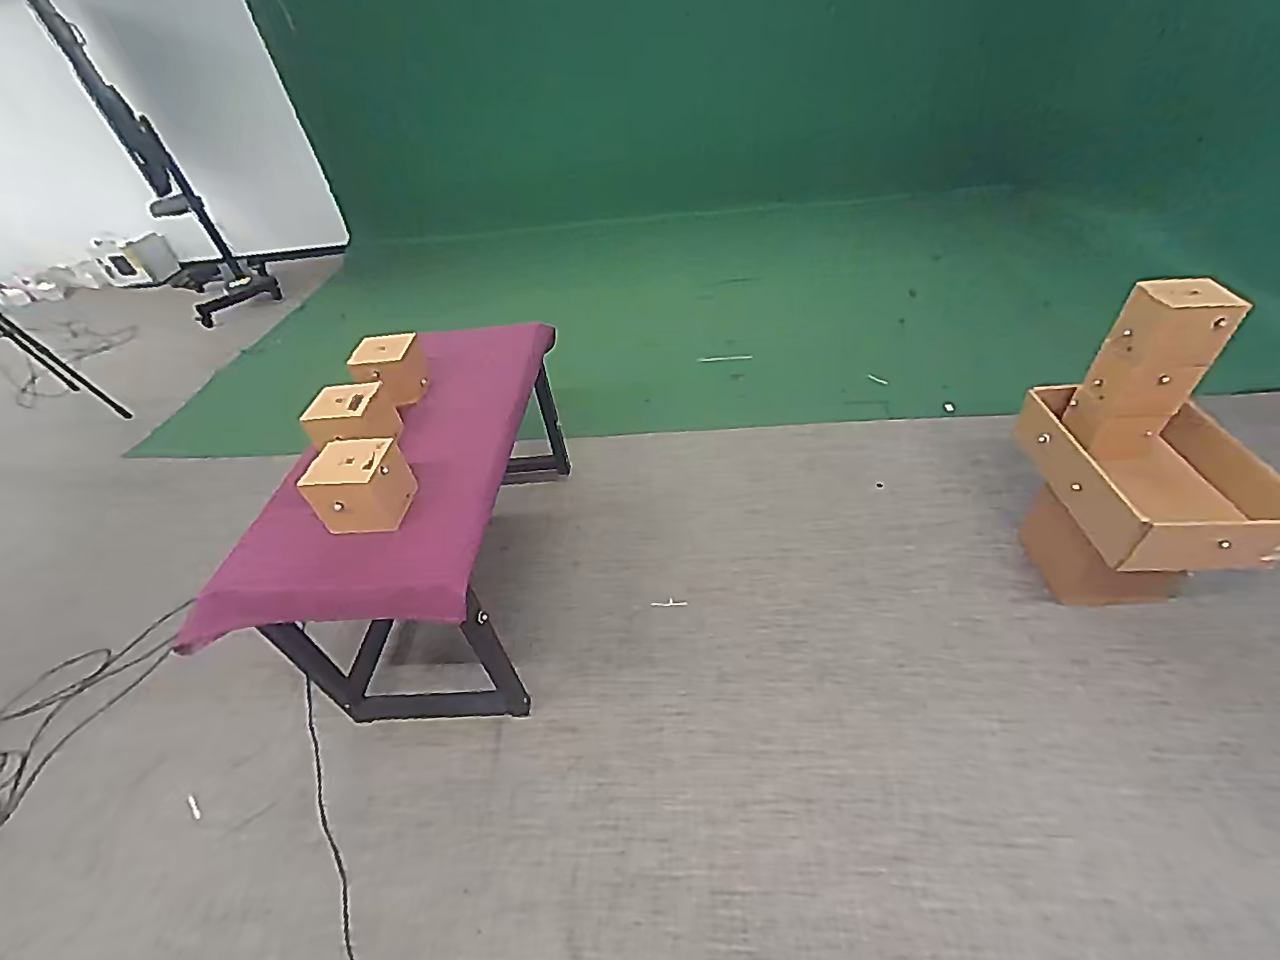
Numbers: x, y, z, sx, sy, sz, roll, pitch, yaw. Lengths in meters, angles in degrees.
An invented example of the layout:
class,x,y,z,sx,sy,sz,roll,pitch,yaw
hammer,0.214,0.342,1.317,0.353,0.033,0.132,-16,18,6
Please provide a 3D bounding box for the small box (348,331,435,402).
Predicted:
class,x,y,z,sx,sy,sz,roll,pitch,yaw
small box,-0.797,-0.362,1.751,0.179,0.176,0.168,-3,44,3

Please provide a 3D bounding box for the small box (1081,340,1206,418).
class,x,y,z,sx,sy,sz,roll,pitch,yaw
small box,1.441,-0.292,1.563,0.179,0.176,0.168,0,42,7

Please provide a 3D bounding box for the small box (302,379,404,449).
class,x,y,z,sx,sy,sz,roll,pitch,yaw
small box,-0.806,-0.167,1.542,0.179,0.176,0.168,-4,43,5

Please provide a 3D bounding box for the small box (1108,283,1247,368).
class,x,y,z,sx,sy,sz,roll,pitch,yaw
small box,1.427,-0.413,1.452,0.179,0.176,0.168,1,42,9

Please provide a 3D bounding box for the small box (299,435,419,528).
class,x,y,z,sx,sy,sz,roll,pitch,yaw
small box,-0.683,0.006,1.337,0.179,0.176,0.168,-3,43,6
